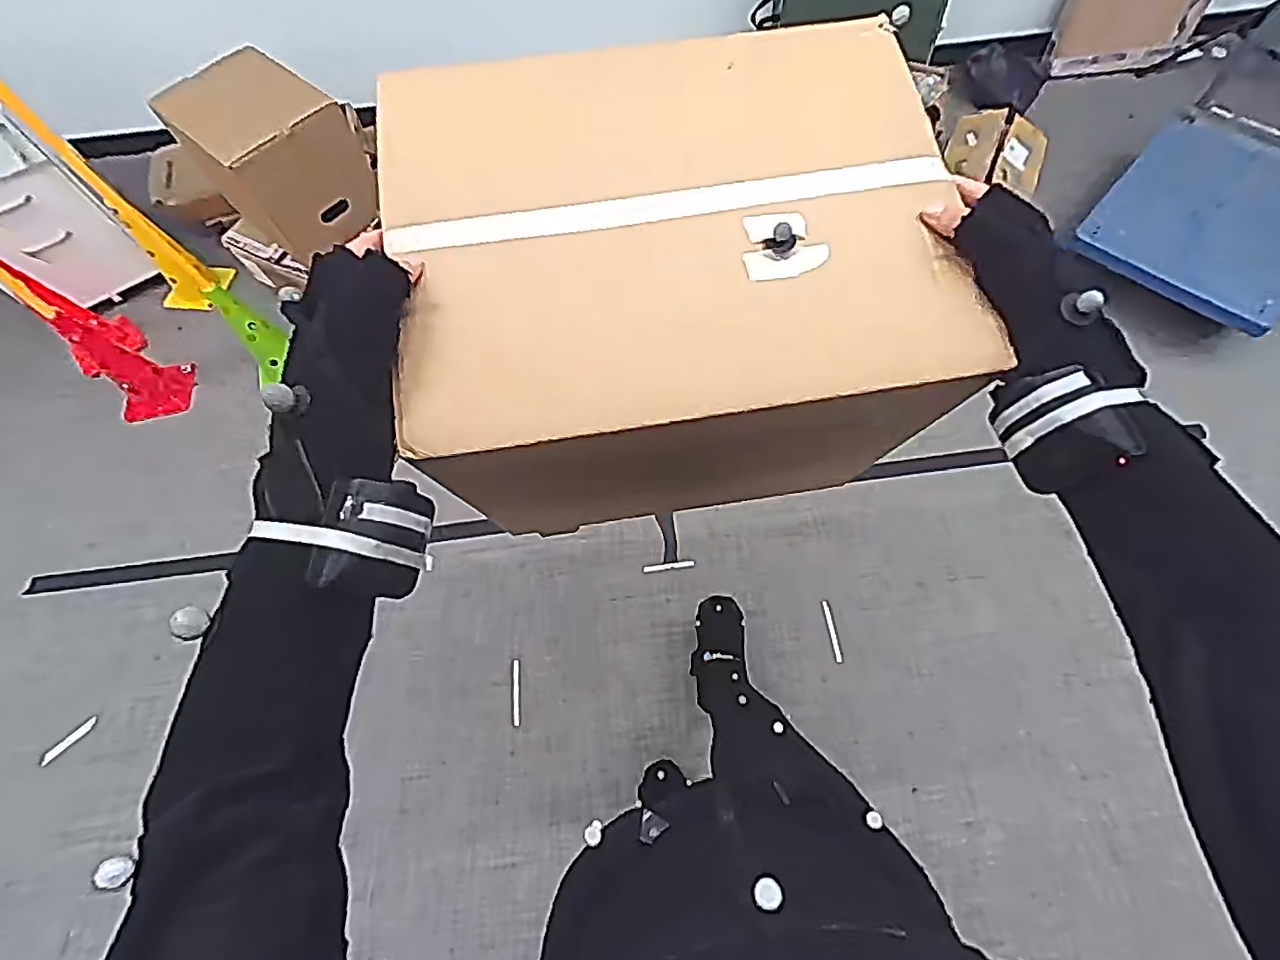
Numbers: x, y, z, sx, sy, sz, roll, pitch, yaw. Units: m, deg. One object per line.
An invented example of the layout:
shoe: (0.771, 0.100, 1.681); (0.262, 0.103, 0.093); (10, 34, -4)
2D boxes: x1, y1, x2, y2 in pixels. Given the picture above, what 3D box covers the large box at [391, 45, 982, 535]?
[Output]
large box: (0.018, -0.149, 0.547); (0.408, 0.320, 0.320); (-9, 76, -3)
